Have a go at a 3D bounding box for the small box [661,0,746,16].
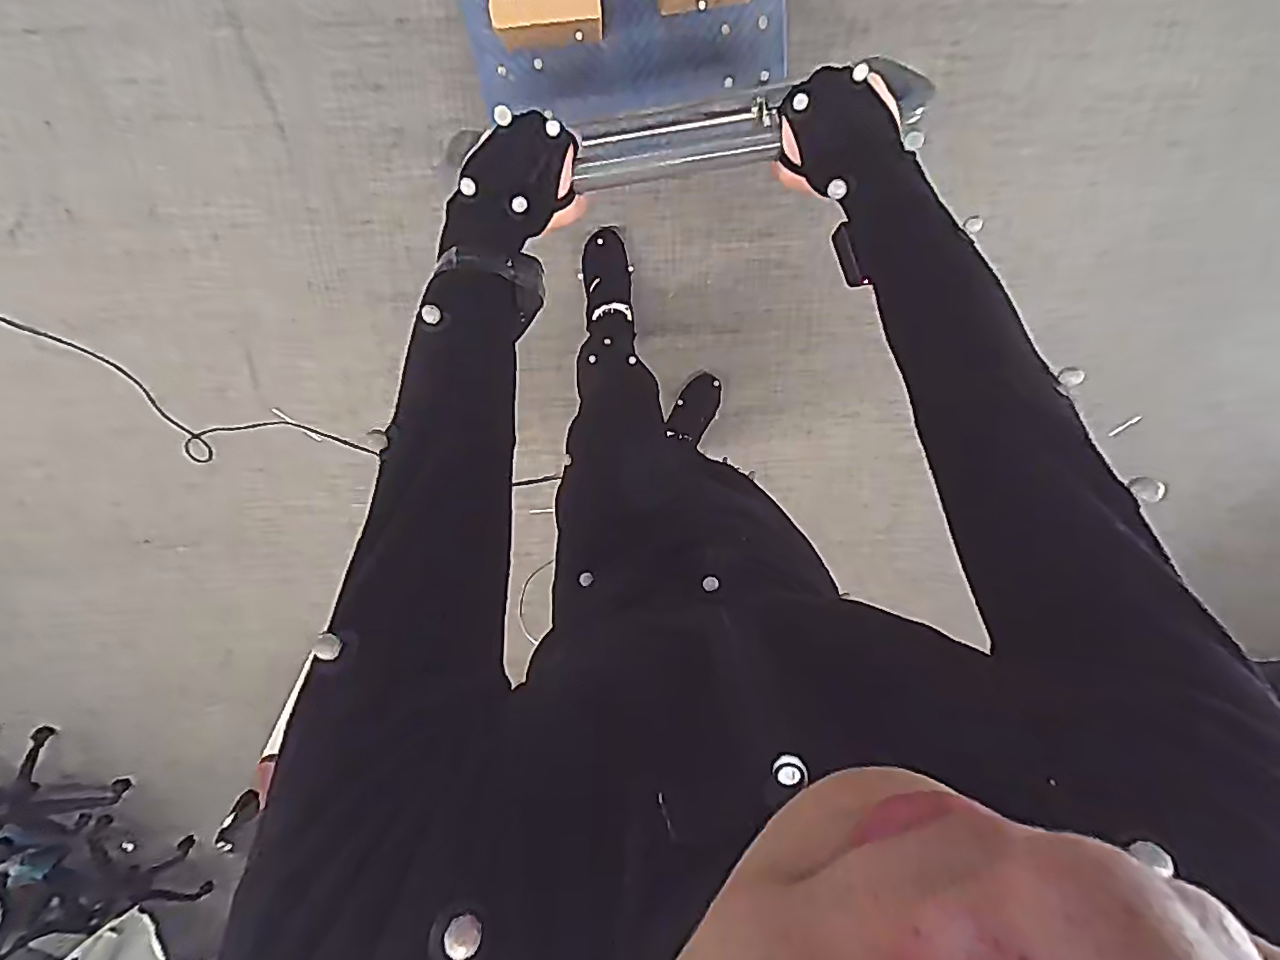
[{"bbox_3d":[0.112,-0.899,0.878,0.168,0.176,0.179,-8,119,2],"label":"small box"}]
